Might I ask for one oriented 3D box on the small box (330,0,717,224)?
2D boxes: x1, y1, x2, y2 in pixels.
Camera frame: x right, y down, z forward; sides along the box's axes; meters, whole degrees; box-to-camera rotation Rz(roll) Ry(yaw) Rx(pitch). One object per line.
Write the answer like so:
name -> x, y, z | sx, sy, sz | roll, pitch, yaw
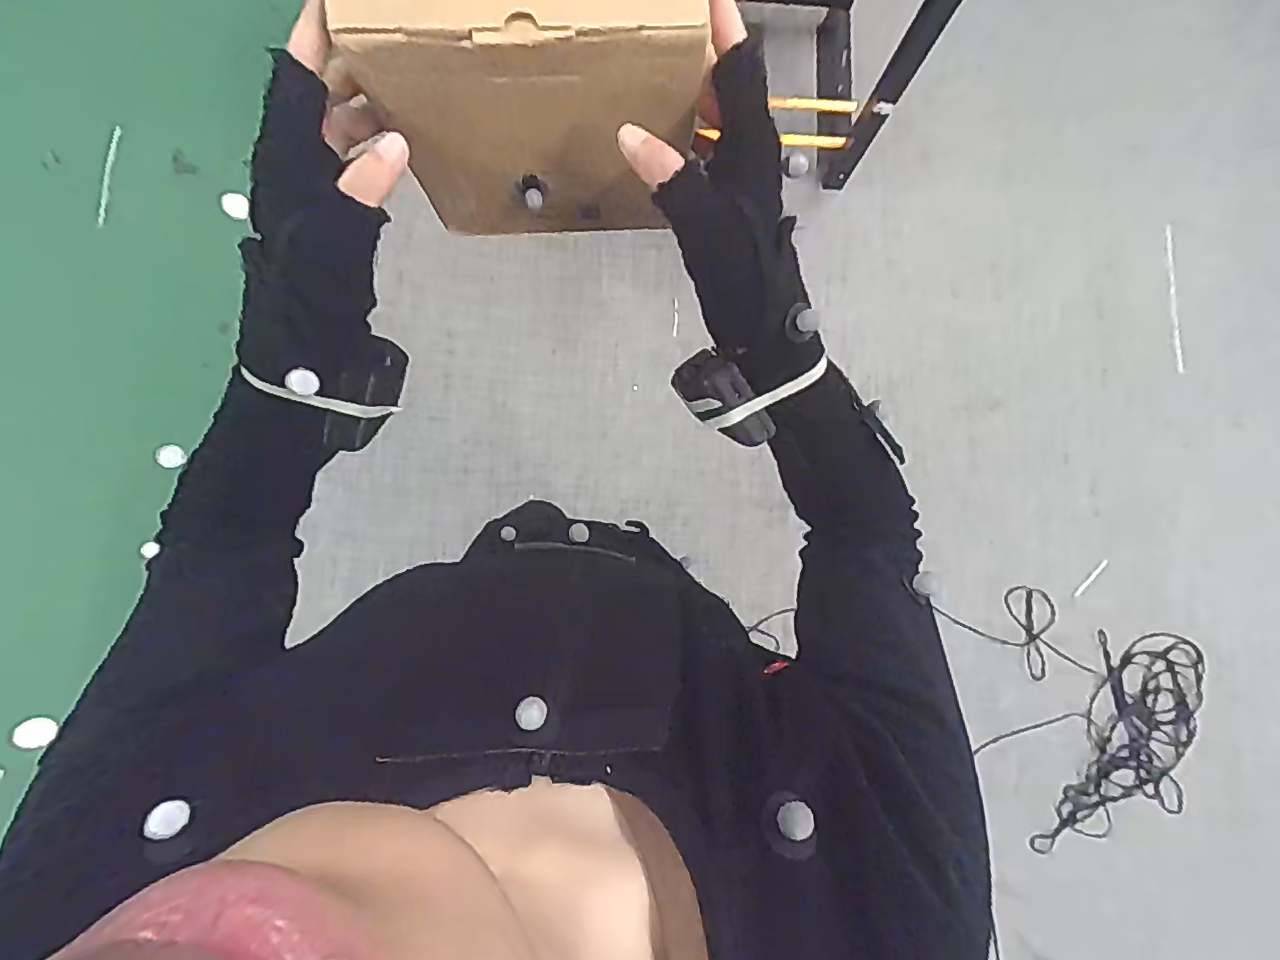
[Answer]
small box -> -0.056, -0.275, 0.312 | 0.168, 0.176, 0.179 | -3, 88, -2
